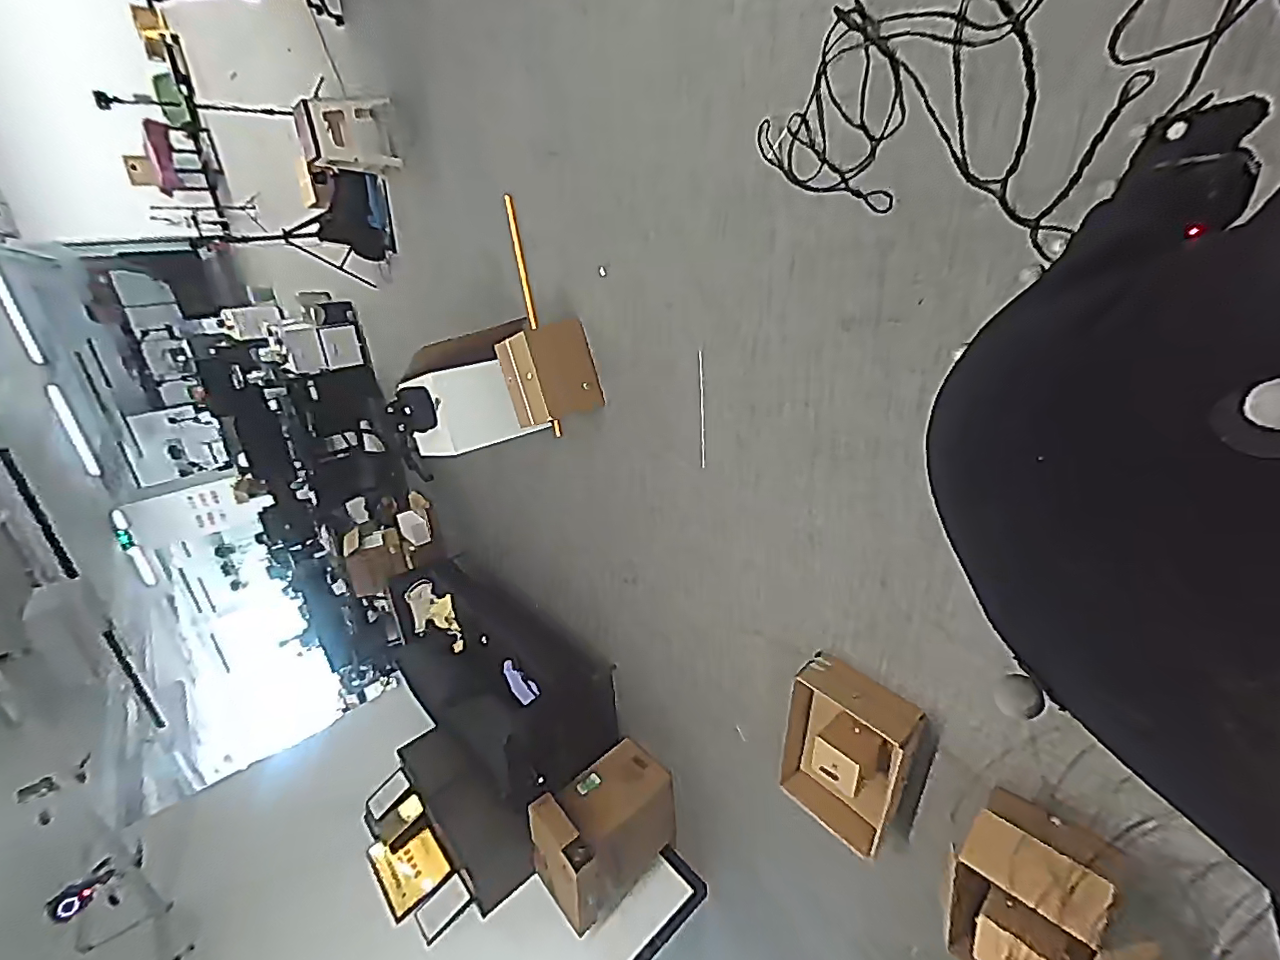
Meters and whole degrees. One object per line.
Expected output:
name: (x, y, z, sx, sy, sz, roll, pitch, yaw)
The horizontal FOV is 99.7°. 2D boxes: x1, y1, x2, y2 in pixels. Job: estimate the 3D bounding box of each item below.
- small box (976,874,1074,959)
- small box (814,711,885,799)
small box: (1.017, 1.204, 1.427, 0.168, 0.176, 0.179, 16, 118, 48)
small box: (0.731, 0.953, 1.886, 0.168, 0.176, 0.179, 24, 127, 44)
